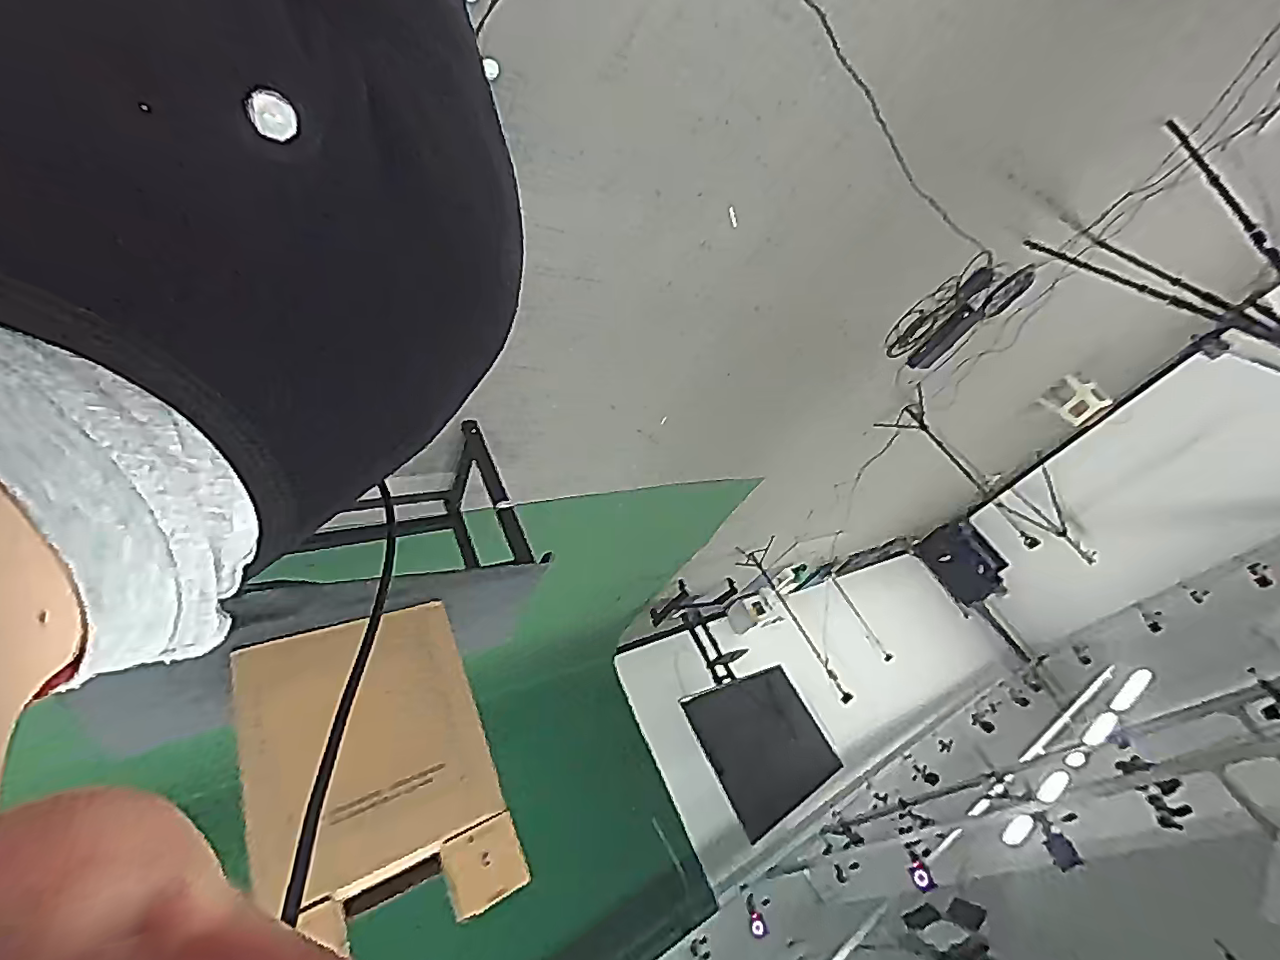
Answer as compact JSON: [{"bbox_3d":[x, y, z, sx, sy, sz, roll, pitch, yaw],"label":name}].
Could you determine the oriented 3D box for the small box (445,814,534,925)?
[{"bbox_3d":[-0.390,0.988,1.382,0.168,0.176,0.179,-12,147,-32],"label":"small box"}]

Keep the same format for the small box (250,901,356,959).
[{"bbox_3d":[-0.712,1.033,1.152,0.168,0.176,0.179,-11,148,-27],"label":"small box"}]
